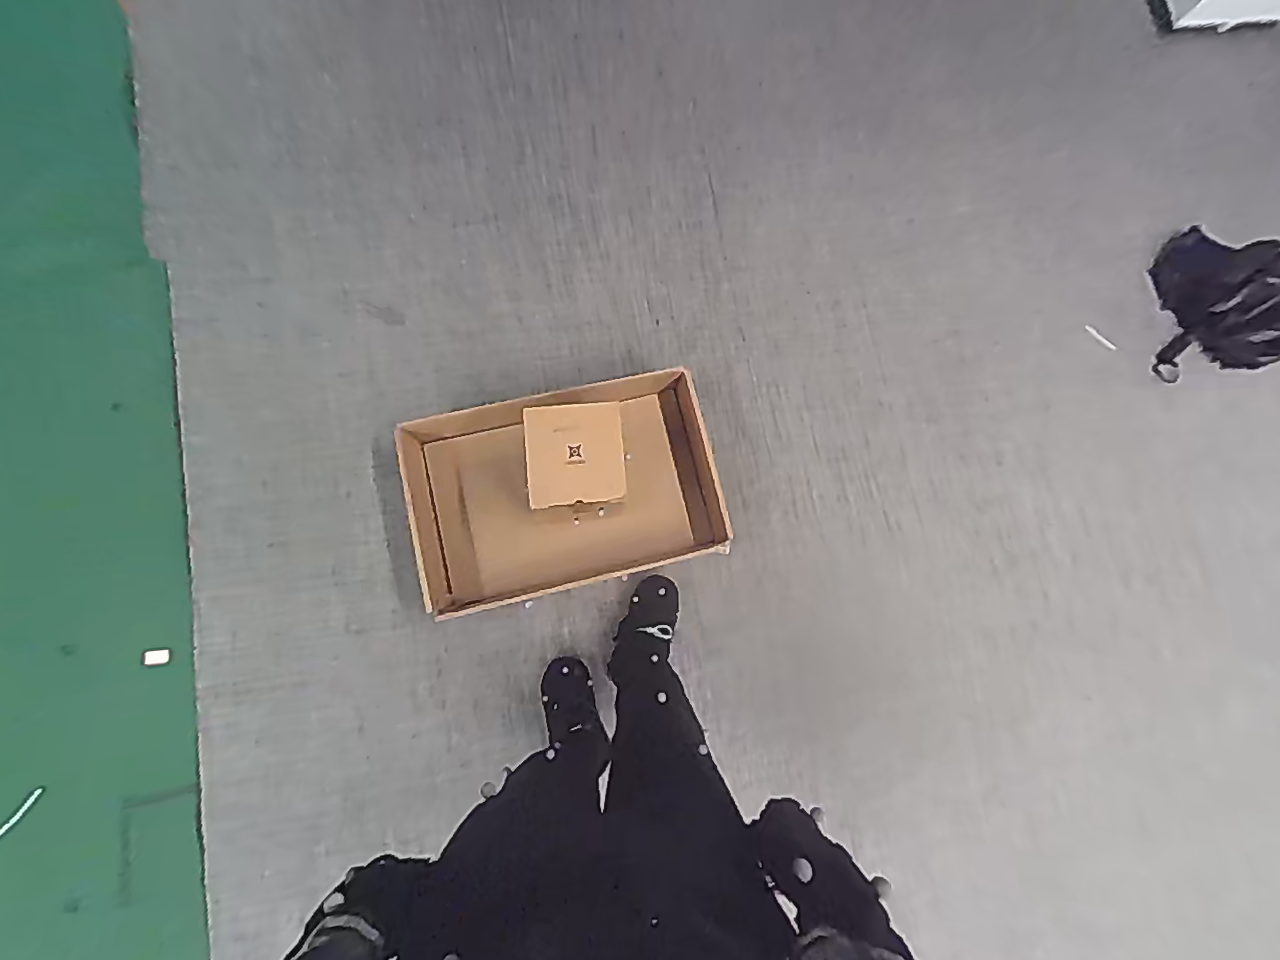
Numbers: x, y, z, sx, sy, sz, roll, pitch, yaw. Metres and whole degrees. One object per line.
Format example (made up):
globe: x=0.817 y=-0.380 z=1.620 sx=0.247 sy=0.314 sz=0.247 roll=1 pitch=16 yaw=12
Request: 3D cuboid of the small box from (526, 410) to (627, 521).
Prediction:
small box: x=-0.114 y=-0.018 z=0.998 sx=0.168 sy=0.176 sz=0.179 roll=-5 pitch=80 yaw=-6

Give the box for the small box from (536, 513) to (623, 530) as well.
small box: x=-0.132 y=0.015 z=1.172 sx=0.179 sy=0.176 sz=0.168 roll=-7 pitch=81 yaw=-3
